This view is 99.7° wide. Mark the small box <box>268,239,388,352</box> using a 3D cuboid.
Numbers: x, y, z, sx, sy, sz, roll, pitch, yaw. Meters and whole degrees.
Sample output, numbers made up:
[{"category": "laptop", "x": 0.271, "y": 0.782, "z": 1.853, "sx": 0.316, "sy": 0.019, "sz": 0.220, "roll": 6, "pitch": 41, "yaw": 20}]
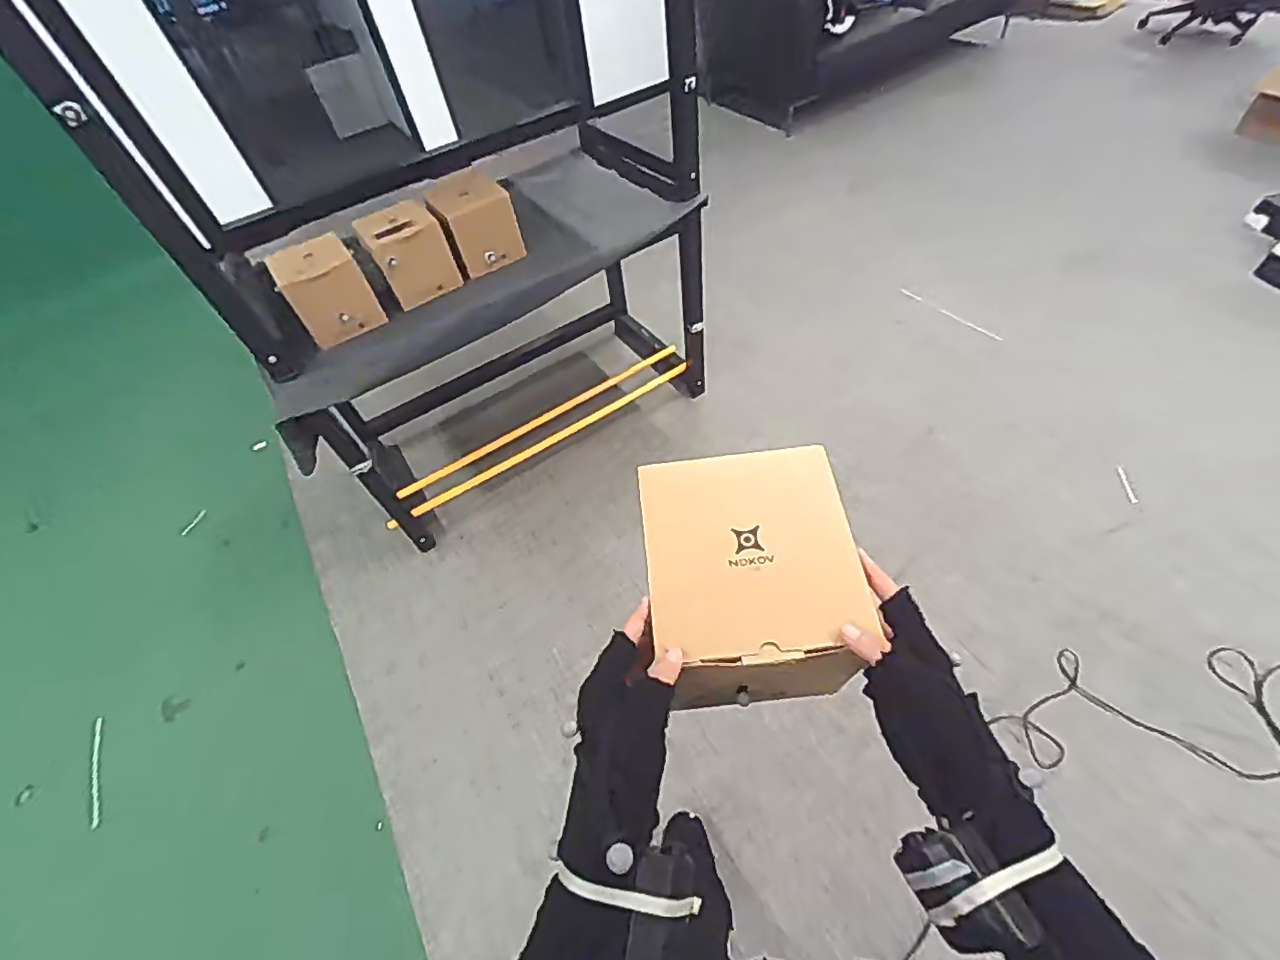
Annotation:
[{"category": "small box", "x": -0.731, "y": -0.433, "z": 1.274, "sx": 0.168, "sy": 0.176, "sz": 0.179, "roll": -32, "pitch": 54, "yaw": -17}]
